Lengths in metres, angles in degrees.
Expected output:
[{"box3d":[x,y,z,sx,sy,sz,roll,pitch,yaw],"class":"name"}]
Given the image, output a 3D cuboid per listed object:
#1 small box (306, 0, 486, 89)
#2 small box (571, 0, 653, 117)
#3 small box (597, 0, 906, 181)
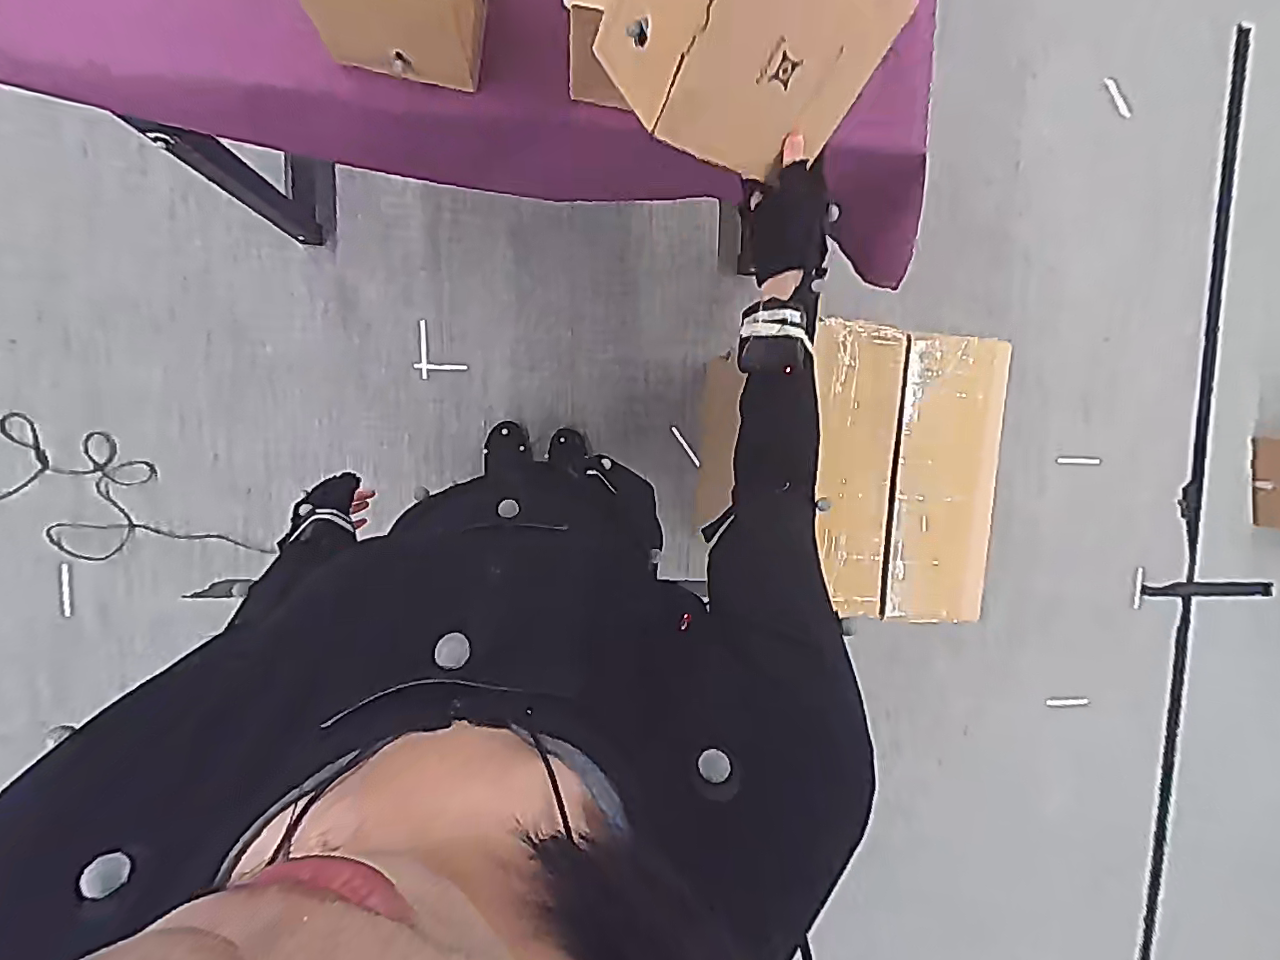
[{"box3d":[-0.276,-0.596,0.623,0.179,0.176,0.168,7,93,-9],"class":"small box"},{"box3d":[0.012,-0.580,0.663,0.179,0.176,0.168,6,93,-7],"class":"small box"},{"box3d":[0.084,-0.408,0.475,0.179,0.168,0.176,-1,54,-34],"class":"small box"}]
